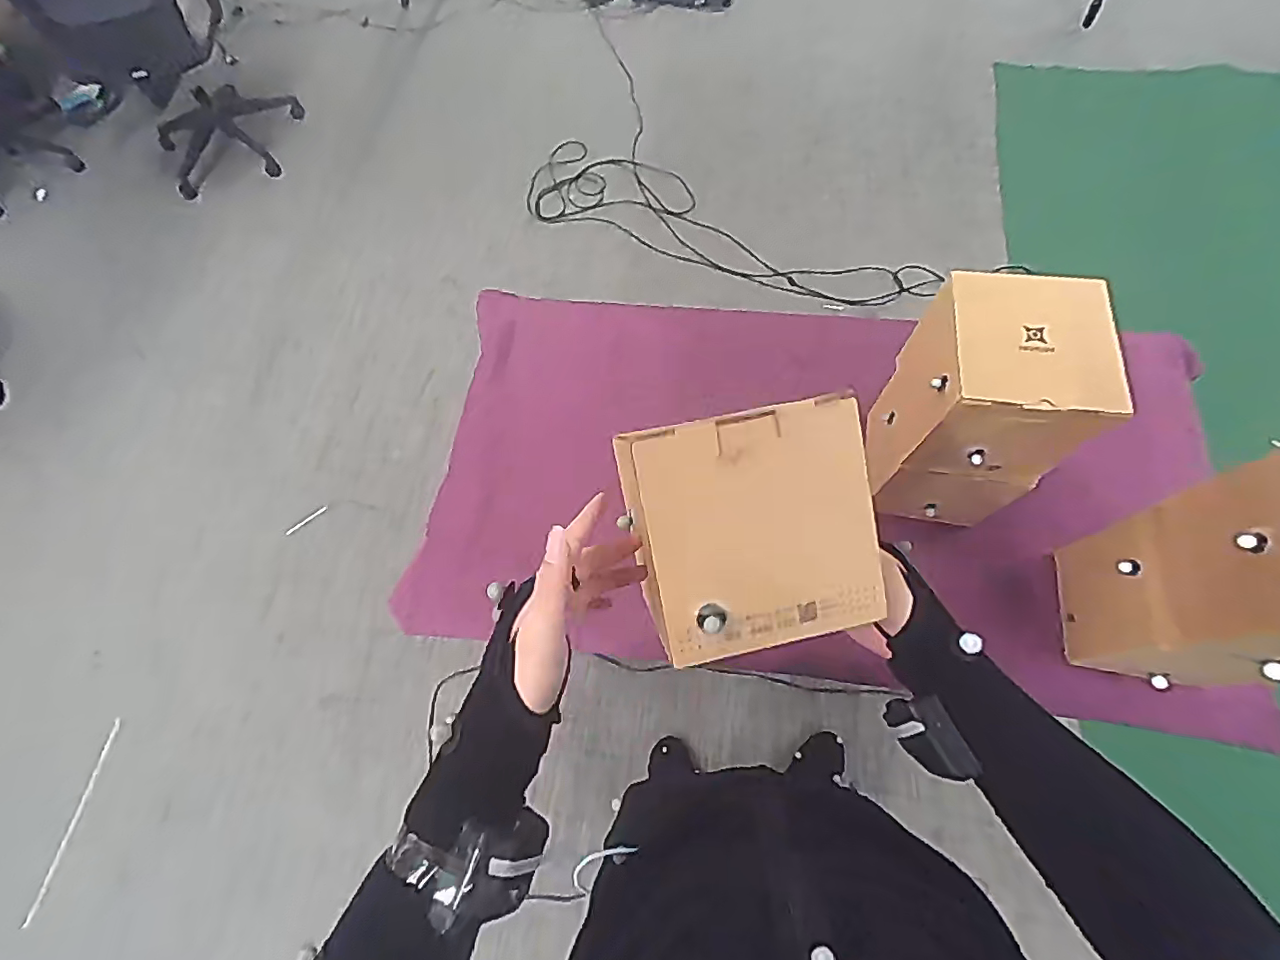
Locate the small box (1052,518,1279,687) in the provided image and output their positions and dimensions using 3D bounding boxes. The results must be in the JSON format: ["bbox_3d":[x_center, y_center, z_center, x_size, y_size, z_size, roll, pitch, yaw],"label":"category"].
[{"bbox_3d":[0.679,0.164,0.696,0.179,0.176,0.168,9,67,9],"label":"small box"}]

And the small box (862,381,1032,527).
[{"bbox_3d":[0.441,-0.049,0.802,0.168,0.176,0.179,10,68,8],"label":"small box"}]

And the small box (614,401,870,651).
[{"bbox_3d":[0.077,0.032,0.467,0.168,0.179,0.176,-11,98,-4],"label":"small box"}]

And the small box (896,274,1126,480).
[{"bbox_3d":[0.425,-0.117,0.656,0.168,0.176,0.179,7,69,6],"label":"small box"}]

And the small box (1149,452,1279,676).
[{"bbox_3d":[0.672,0.095,0.547,0.168,0.176,0.179,9,68,10],"label":"small box"}]
